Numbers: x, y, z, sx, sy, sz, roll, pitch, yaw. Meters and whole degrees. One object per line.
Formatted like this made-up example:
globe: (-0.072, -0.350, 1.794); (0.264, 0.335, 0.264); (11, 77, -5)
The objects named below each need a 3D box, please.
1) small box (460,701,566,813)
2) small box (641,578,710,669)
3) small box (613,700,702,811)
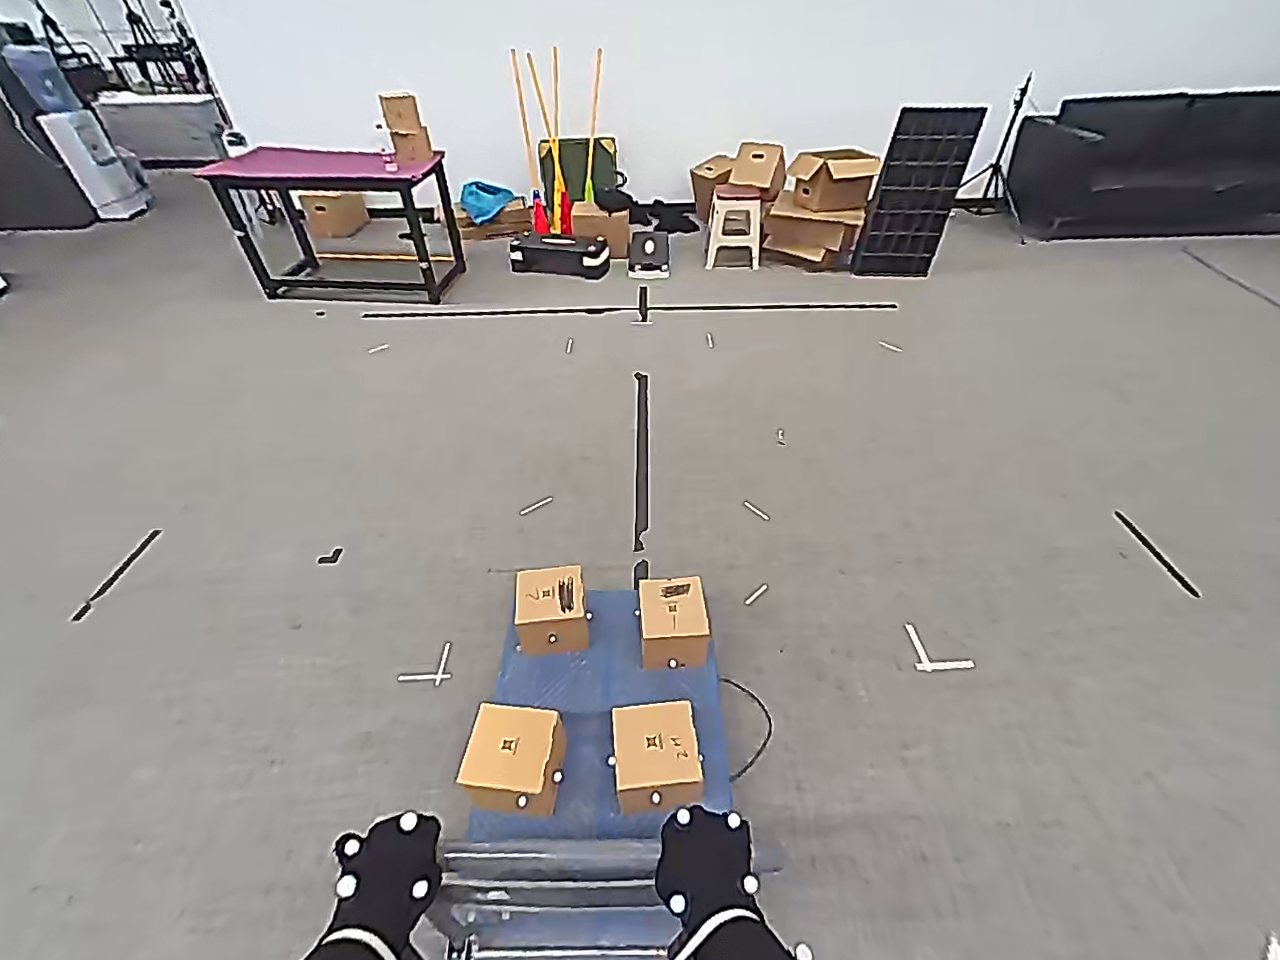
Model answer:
small box: (-0.270, 0.614, 1.195); (0.179, 0.176, 0.168); (5, 43, 4)
small box: (0.088, 0.381, 1.437); (0.168, 0.176, 0.179); (-3, 44, -2)
small box: (0.036, 0.609, 1.192); (0.179, 0.176, 0.168); (-4, 43, -3)
